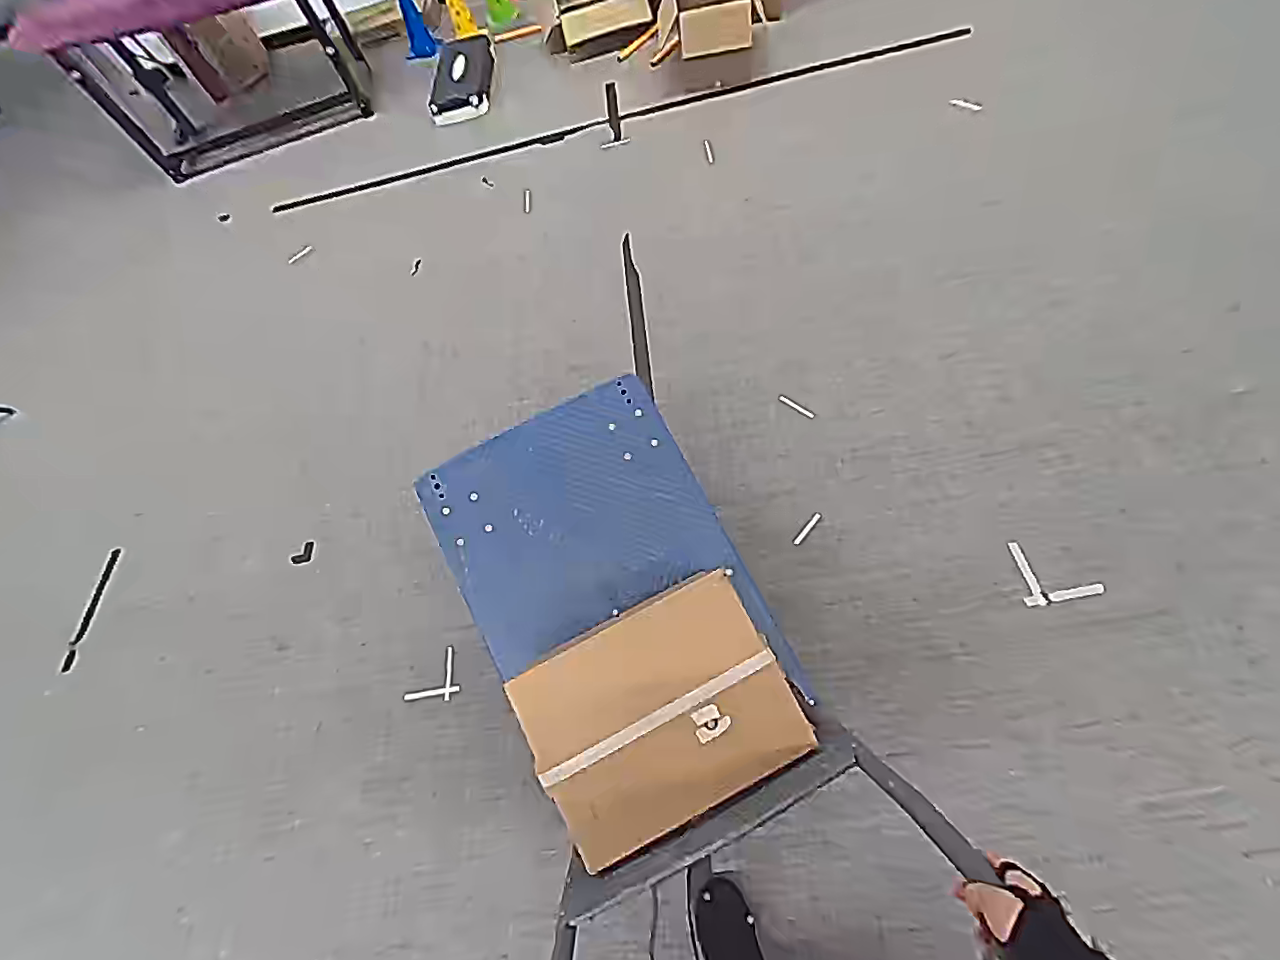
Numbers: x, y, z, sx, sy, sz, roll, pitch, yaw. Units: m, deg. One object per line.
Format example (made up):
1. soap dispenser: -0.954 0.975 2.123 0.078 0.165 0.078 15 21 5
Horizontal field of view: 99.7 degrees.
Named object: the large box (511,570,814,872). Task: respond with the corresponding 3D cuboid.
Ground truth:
1. large box: 0.033 0.403 1.007 0.408 0.320 0.320 -28 81 -5
